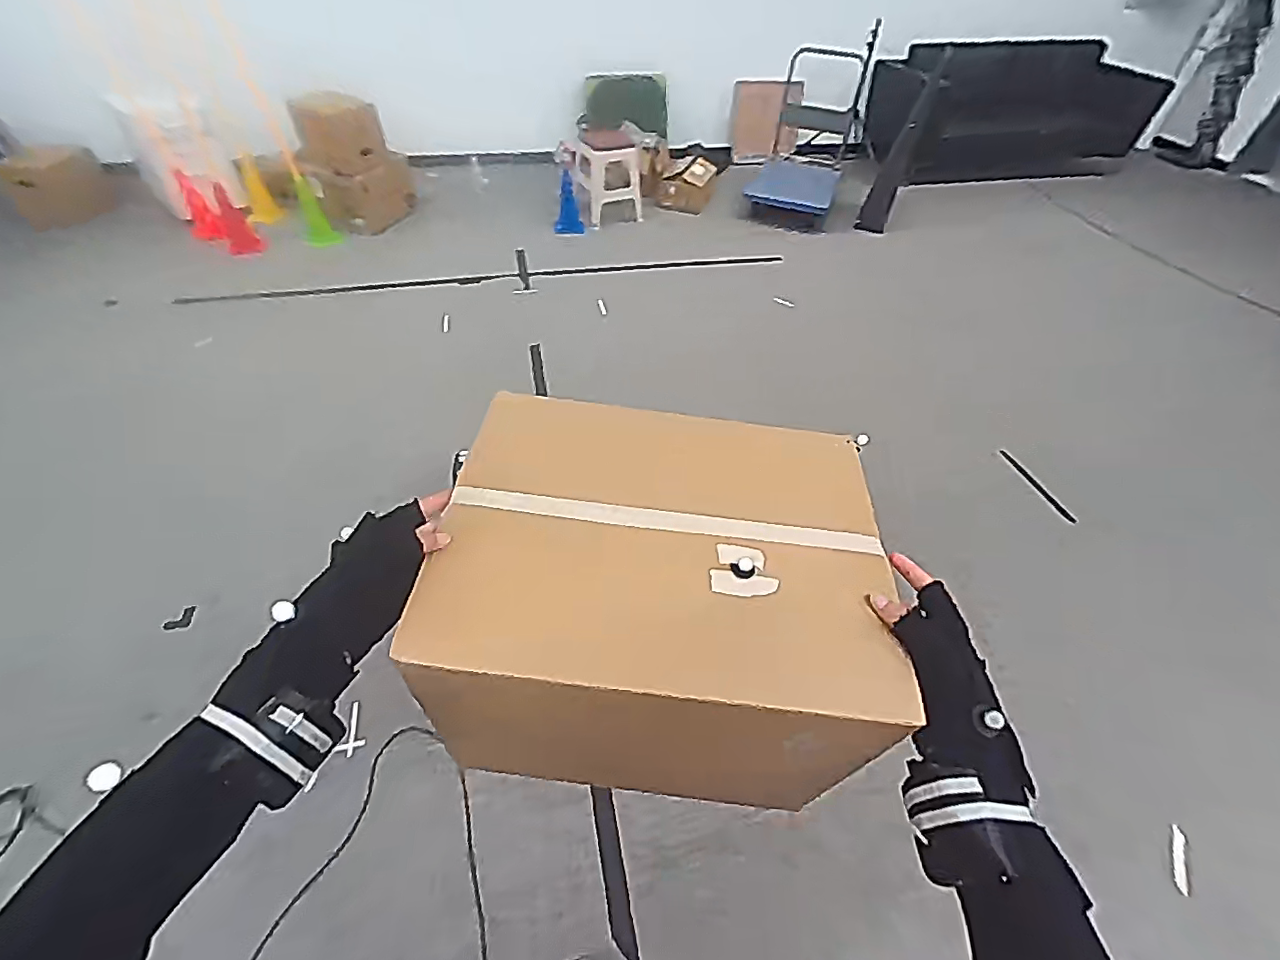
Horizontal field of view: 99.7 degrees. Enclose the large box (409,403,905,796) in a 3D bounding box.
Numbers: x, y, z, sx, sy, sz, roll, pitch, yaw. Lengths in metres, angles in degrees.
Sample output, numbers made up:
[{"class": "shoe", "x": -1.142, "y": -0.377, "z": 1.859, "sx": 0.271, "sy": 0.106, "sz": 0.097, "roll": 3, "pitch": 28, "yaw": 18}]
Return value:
[{"class": "large box", "x": 0.010, "y": 0.145, "z": 0.630, "sx": 0.408, "sy": 0.320, "sz": 0.320, "roll": 8, "pitch": 49, "yaw": -1}]
